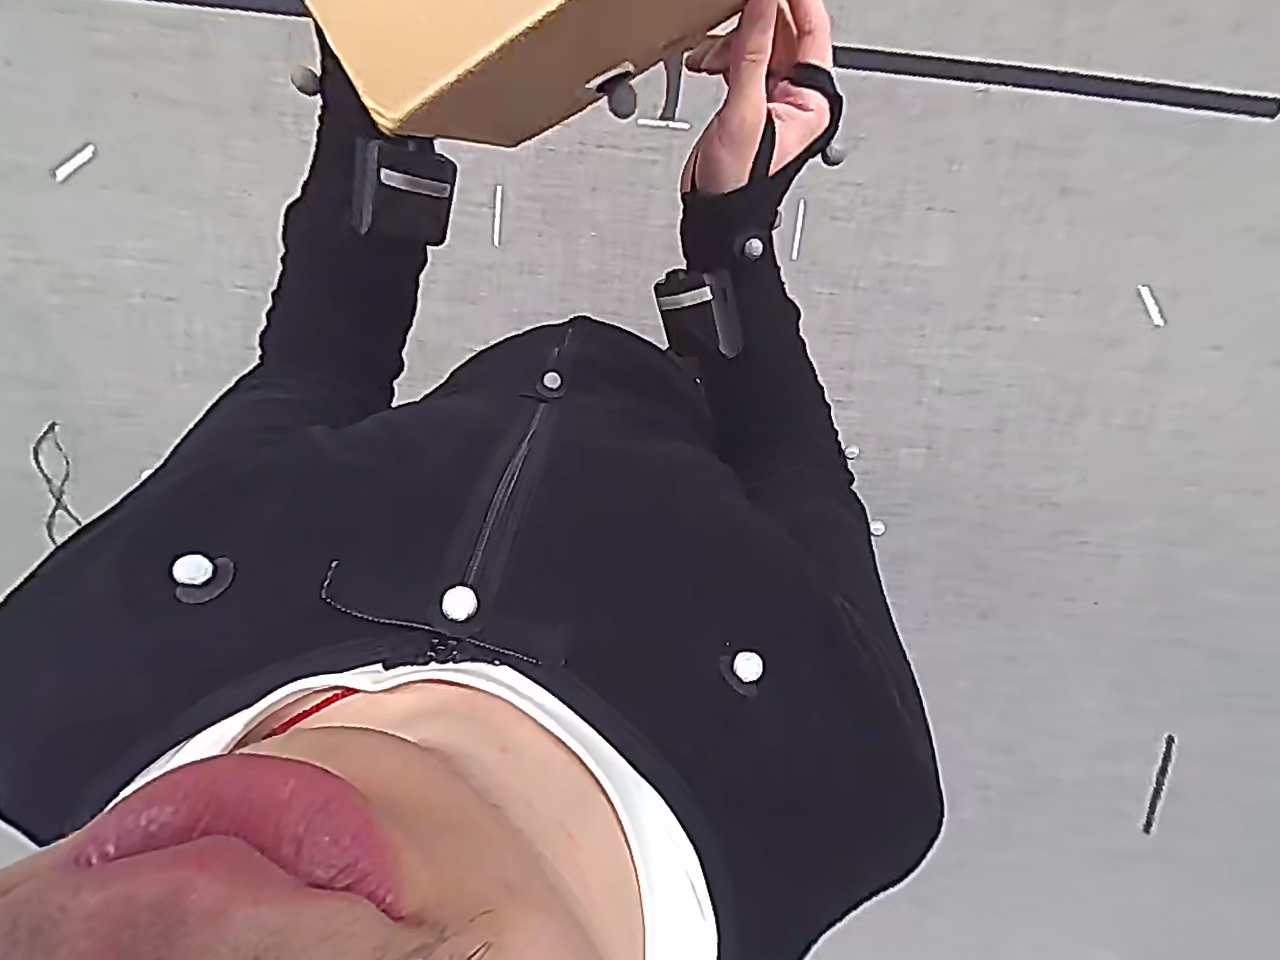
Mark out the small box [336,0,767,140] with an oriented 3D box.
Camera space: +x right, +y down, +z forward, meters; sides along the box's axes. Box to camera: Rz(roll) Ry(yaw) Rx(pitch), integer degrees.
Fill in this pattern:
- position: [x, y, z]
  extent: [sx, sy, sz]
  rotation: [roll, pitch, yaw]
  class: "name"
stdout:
- position: [-0.041, -0.263, 0.211]
  extent: [0.168, 0.176, 0.179]
  rotation: [-21, 116, 19]
  class: "small box"
